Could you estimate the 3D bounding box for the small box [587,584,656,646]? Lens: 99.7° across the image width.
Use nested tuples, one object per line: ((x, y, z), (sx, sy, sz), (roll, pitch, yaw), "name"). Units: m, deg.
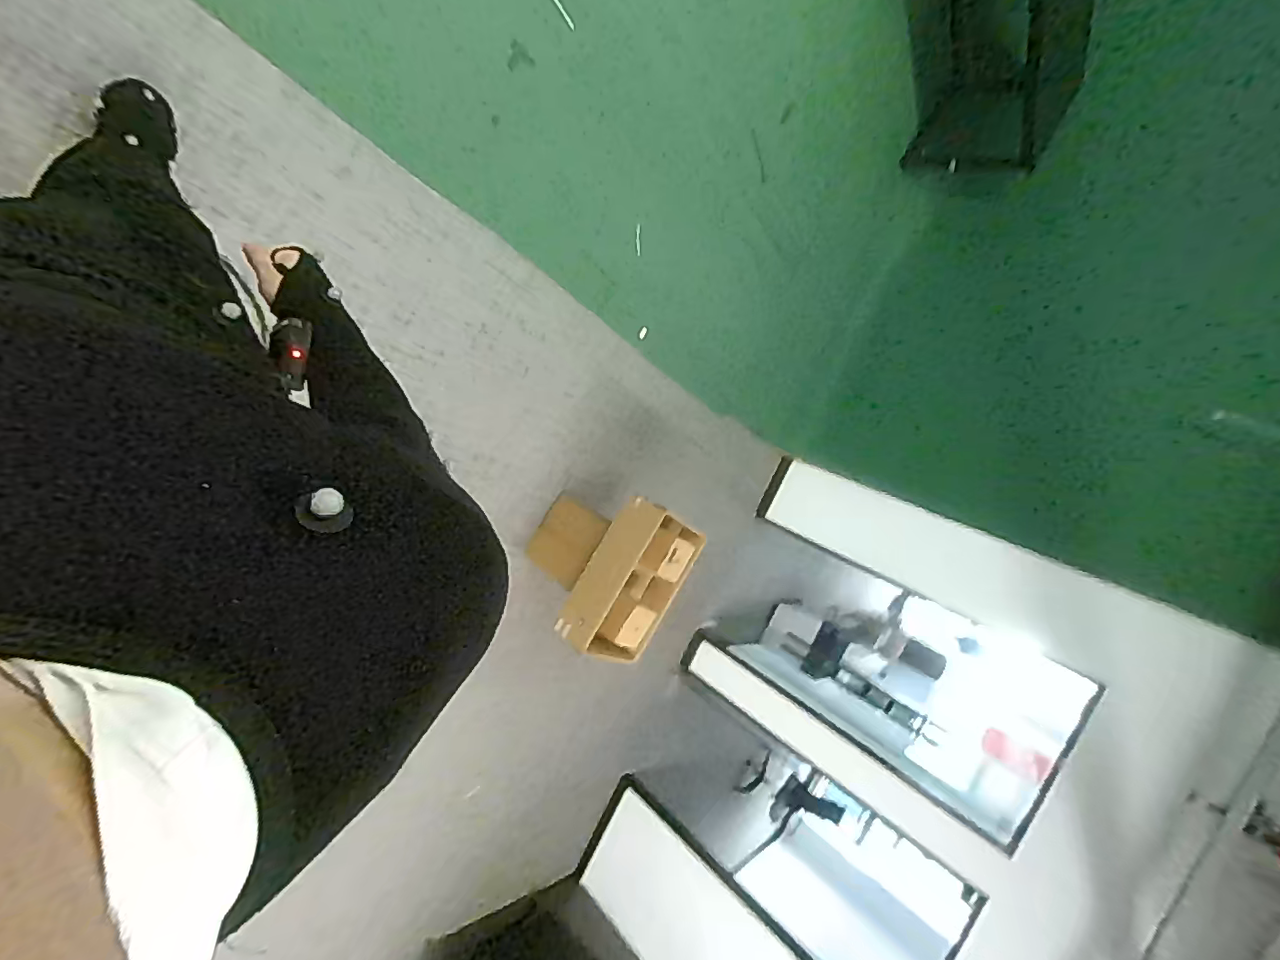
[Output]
((-0.074, 0.535, 2.147), (0.168, 0.176, 0.179), (-58, 143, -7), "small box")
